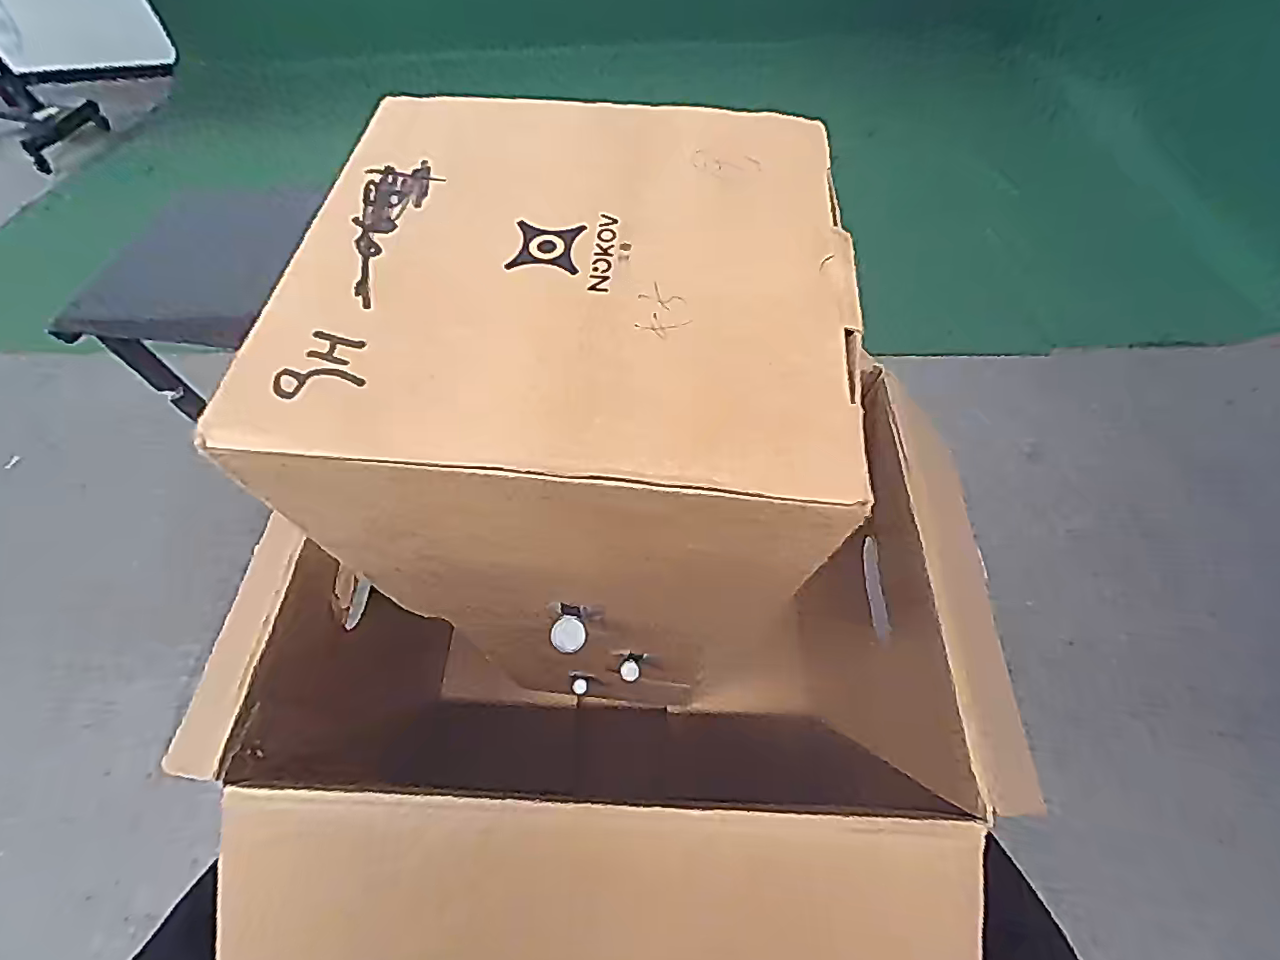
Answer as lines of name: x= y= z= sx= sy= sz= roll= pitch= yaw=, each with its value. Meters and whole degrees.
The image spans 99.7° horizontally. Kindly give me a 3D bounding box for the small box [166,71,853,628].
small box: x=-0.028 y=-0.038 z=0.241 sx=0.179 sy=0.176 sz=0.168 roll=6 pitch=61 yaw=1
